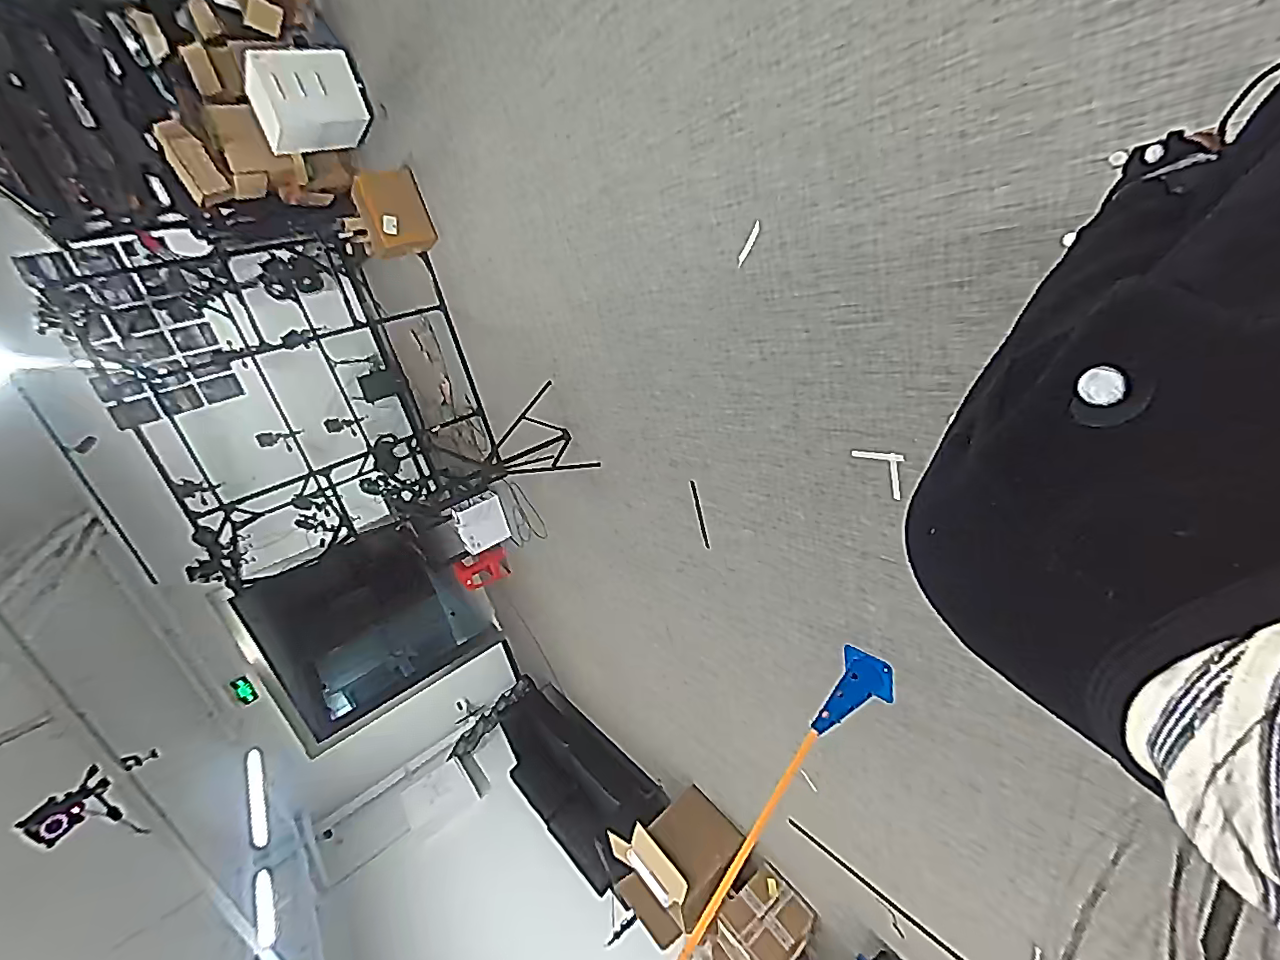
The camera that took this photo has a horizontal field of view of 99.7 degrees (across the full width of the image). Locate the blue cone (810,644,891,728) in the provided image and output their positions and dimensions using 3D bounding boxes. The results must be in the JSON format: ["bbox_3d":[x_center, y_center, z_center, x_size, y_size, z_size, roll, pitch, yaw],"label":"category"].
[{"bbox_3d":[0.767,0.810,2.033,0.193,0.380,0.192,20,130,49],"label":"blue cone"}]
